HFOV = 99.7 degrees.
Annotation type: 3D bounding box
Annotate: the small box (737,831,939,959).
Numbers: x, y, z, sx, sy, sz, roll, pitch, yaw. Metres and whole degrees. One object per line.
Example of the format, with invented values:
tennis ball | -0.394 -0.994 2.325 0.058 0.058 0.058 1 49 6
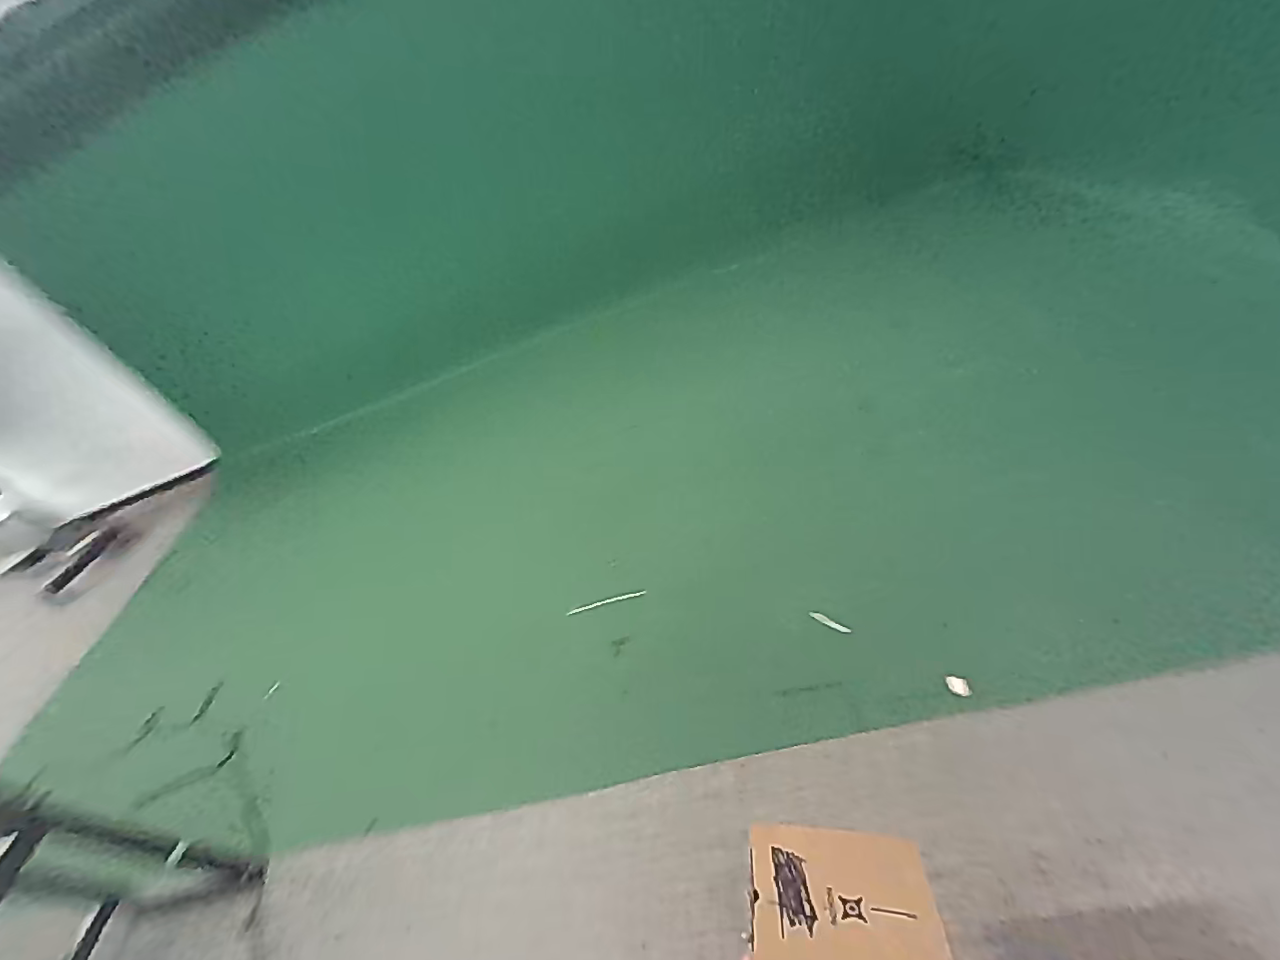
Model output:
small box | 0.189 0.492 0.537 0.179 0.176 0.168 -2 17 11
